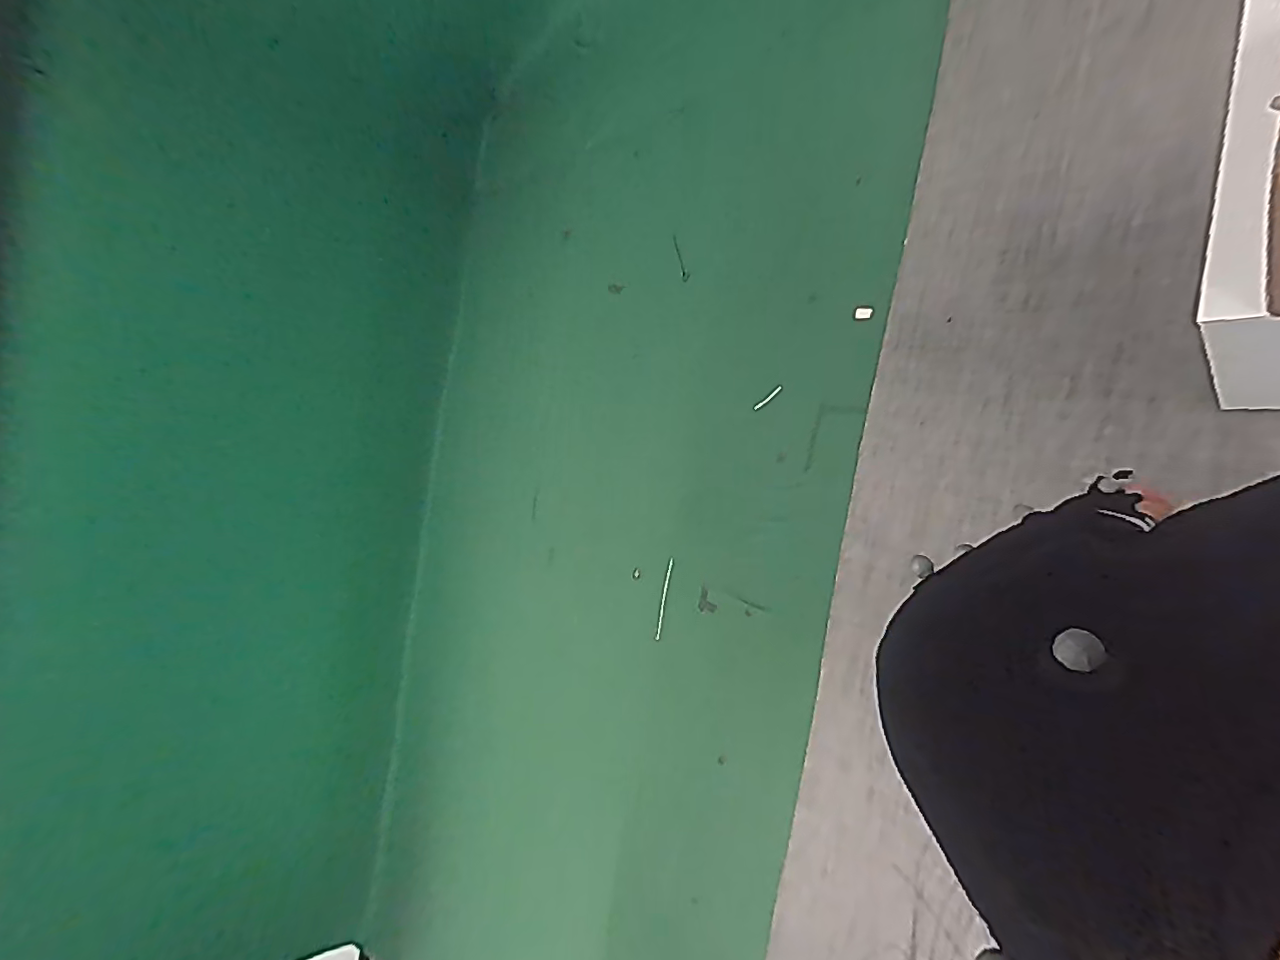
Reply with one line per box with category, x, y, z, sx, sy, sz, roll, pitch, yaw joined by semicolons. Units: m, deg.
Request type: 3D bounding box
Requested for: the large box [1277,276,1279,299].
large box;0.687;-0.320;0.302;0.408;0.320;0.320;10;93;48
